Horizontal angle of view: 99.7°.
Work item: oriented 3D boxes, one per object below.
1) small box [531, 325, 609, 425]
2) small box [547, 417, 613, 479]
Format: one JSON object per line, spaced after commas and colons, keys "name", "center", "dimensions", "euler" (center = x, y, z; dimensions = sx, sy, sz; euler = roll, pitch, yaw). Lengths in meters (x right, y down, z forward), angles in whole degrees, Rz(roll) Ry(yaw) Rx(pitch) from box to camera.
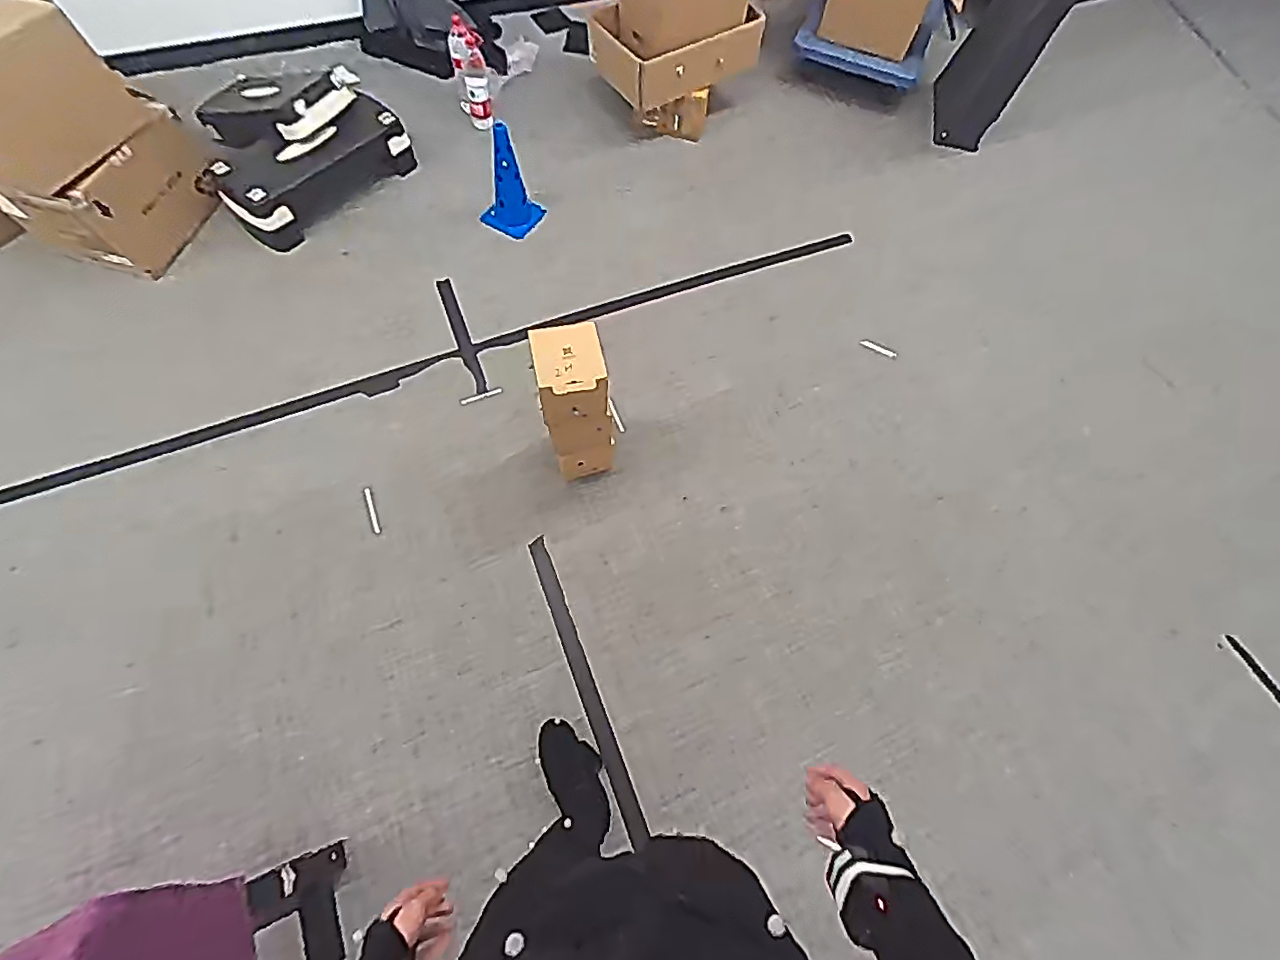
{"name": "small box", "center": [-0.177, -0.262, 1.363], "dimensions": [0.168, 0.176, 0.179], "euler": [-10, 67, -9]}
{"name": "small box", "center": [-0.183, -0.119, 1.661], "dimensions": [0.168, 0.176, 0.179], "euler": [-16, 68, -11]}
